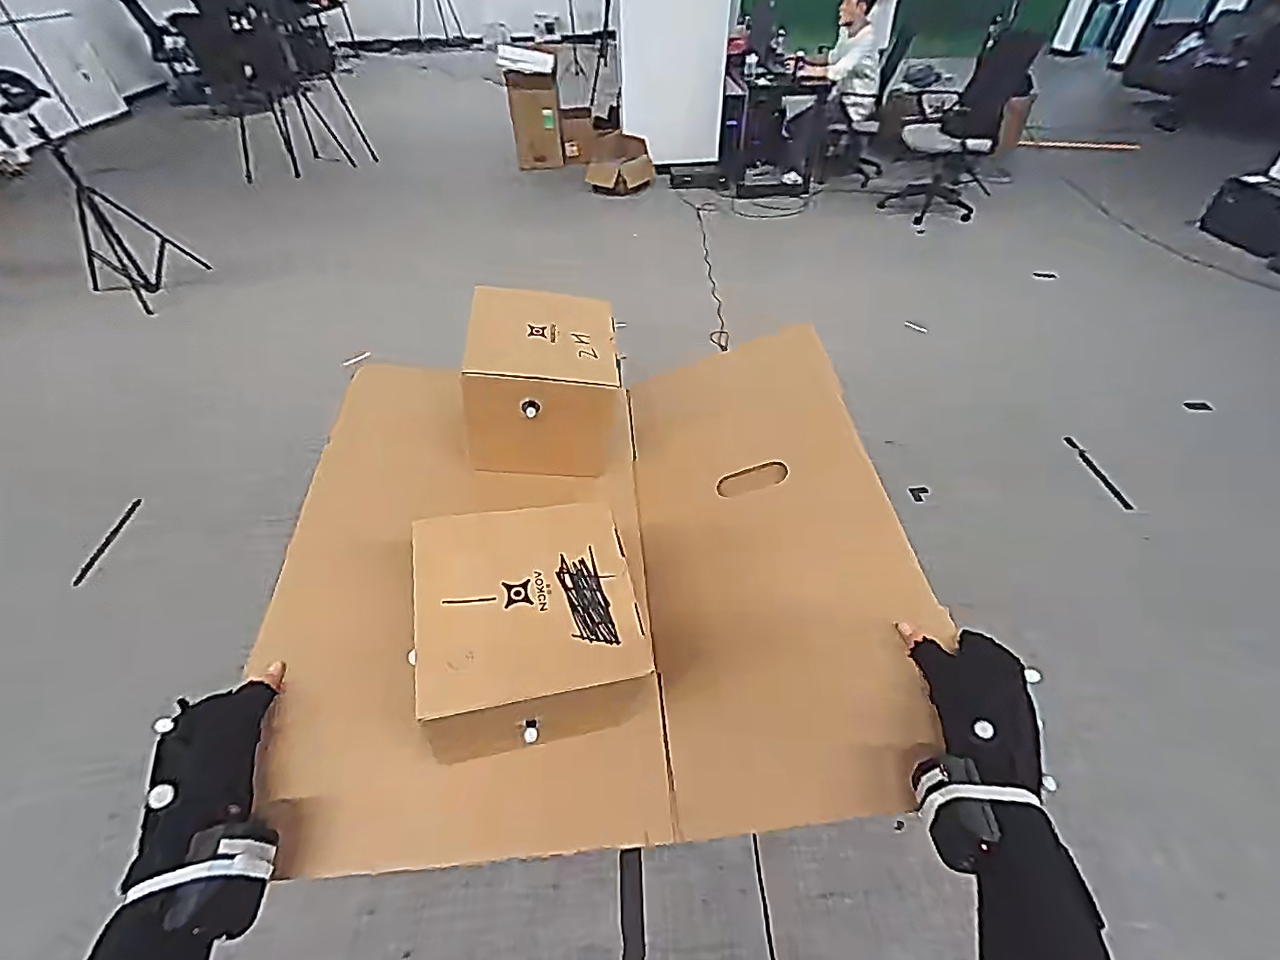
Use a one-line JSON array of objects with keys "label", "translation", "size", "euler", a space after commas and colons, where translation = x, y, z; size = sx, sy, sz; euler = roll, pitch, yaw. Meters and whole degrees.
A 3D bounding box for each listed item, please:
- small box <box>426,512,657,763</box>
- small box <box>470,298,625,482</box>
[{"label": "small box", "translation": [-0.101, 0.149, 0.512], "size": [0.179, 0.176, 0.168], "euler": [-5, 54, -17]}, {"label": "small box", "translation": [-0.122, -0.113, 0.717], "size": [0.179, 0.176, 0.168], "euler": [4, 51, -12]}]
